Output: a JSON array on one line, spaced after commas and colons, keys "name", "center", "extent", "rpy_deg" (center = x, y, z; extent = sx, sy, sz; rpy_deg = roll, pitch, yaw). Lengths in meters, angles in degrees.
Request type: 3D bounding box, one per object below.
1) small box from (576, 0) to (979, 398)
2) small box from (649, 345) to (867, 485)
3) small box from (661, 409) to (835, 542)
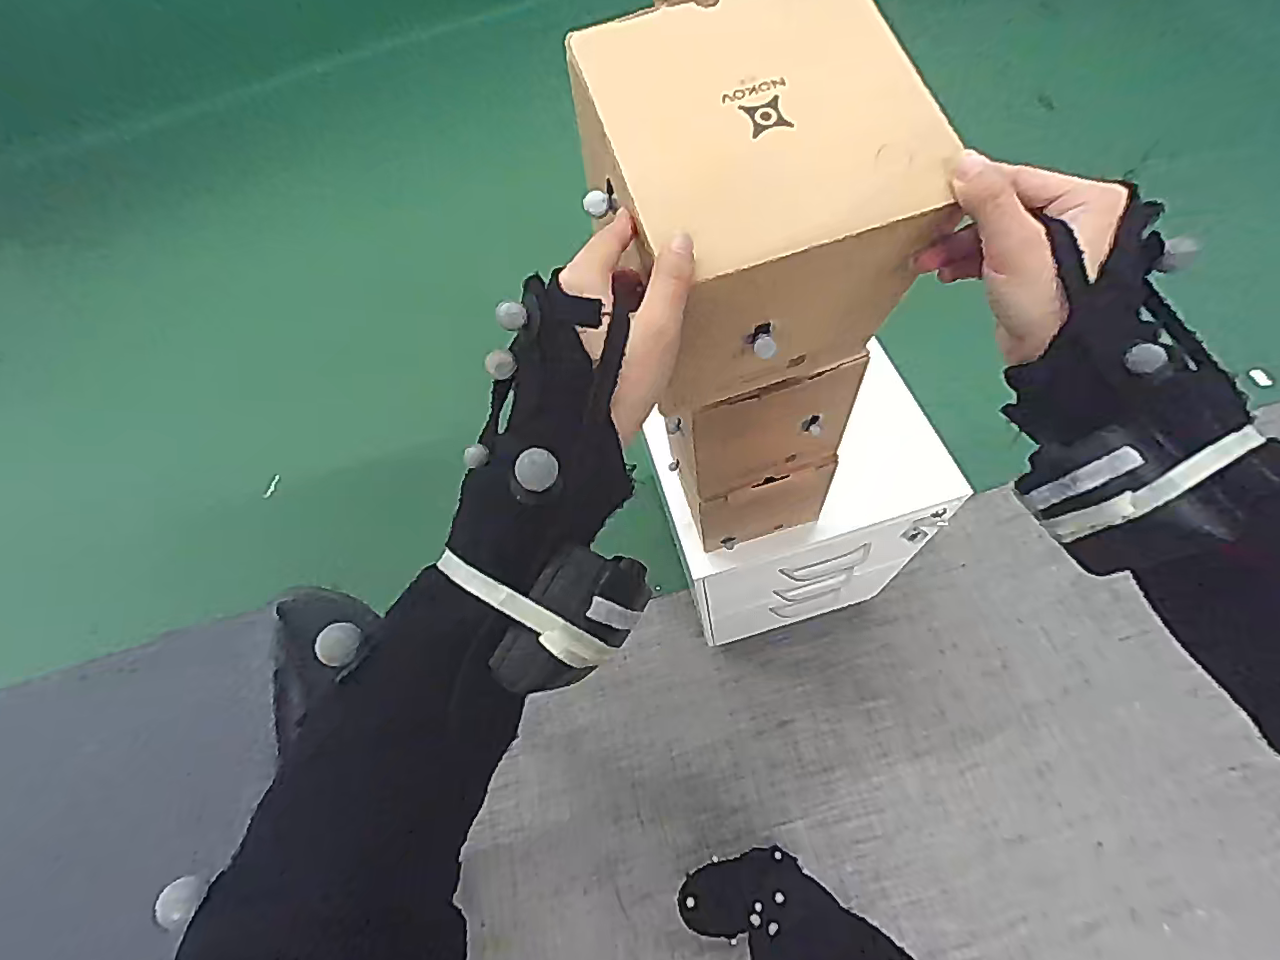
[{"name": "small box", "center": [0.069, -0.171, 0.360], "extent": [0.168, 0.176, 0.179], "rpy_deg": [-18, 75, -3]}, {"name": "small box", "center": [0.106, -0.112, 0.568], "extent": [0.168, 0.176, 0.179], "rpy_deg": [-18, 61, -3]}, {"name": "small box", "center": [0.131, -0.032, 0.708], "extent": [0.168, 0.176, 0.179], "rpy_deg": [-16, 61, 0]}]
